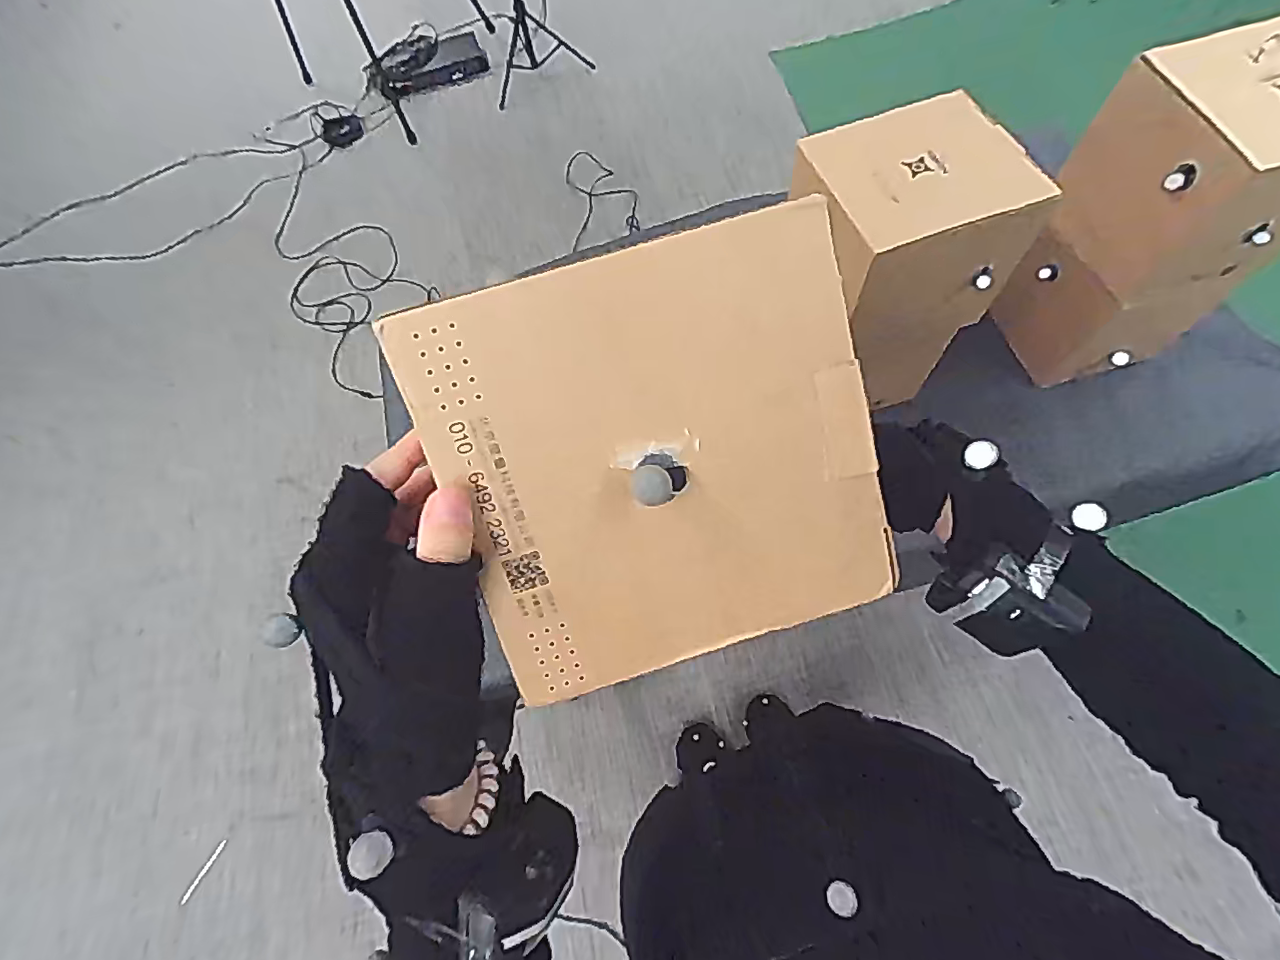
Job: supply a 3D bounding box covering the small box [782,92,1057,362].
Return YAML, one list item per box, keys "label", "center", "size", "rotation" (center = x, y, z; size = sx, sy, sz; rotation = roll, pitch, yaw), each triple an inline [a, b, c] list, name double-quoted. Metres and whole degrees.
- label: "small box"
  center: [0.268, -0.256, 0.572]
  size: [0.179, 0.176, 0.168]
  rotation: [-18, 65, -1]

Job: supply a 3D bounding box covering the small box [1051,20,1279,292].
- label: "small box"
  center: [0.583, -0.319, 0.560]
  size: [0.168, 0.176, 0.179]
  rotation: [-14, 66, 1]
